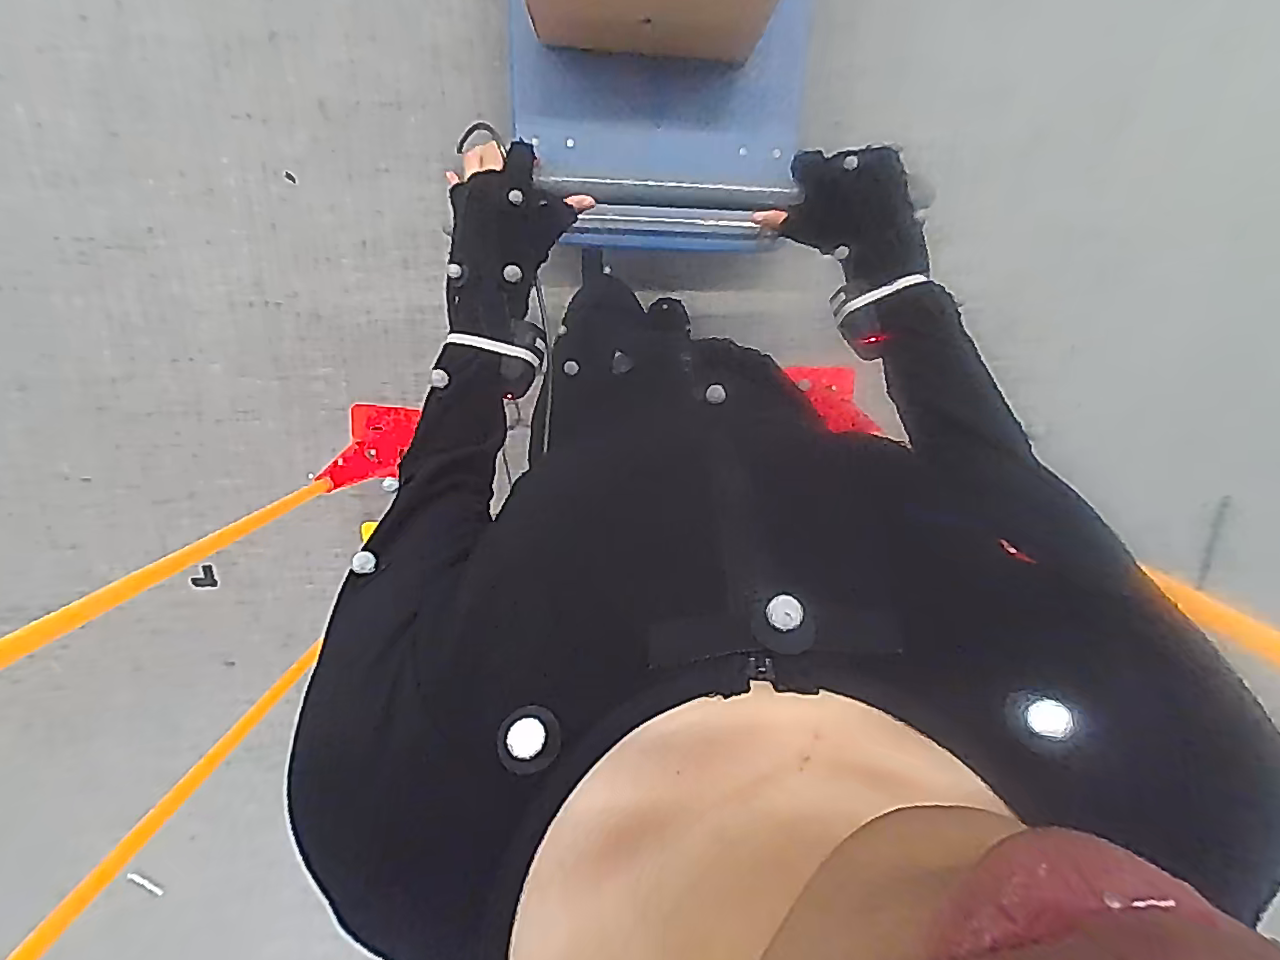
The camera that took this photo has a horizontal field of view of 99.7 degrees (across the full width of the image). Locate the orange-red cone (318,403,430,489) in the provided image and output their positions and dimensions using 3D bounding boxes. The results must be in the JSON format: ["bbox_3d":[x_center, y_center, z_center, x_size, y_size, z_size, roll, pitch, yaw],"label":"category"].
[{"bbox_3d":[-0.650,-0.051,1.269,0.198,0.360,0.199,6,106,-5],"label":"orange-red cone"}]

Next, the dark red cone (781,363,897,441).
[{"bbox_3d":[0.480,-0.153,1.259,0.201,0.394,0.202,-2,108,-4],"label":"dark red cone"}]

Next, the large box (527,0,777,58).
[{"bbox_3d":[0.021,-0.922,0.864,0.408,0.320,0.320,2,108,-3],"label":"large box"}]
